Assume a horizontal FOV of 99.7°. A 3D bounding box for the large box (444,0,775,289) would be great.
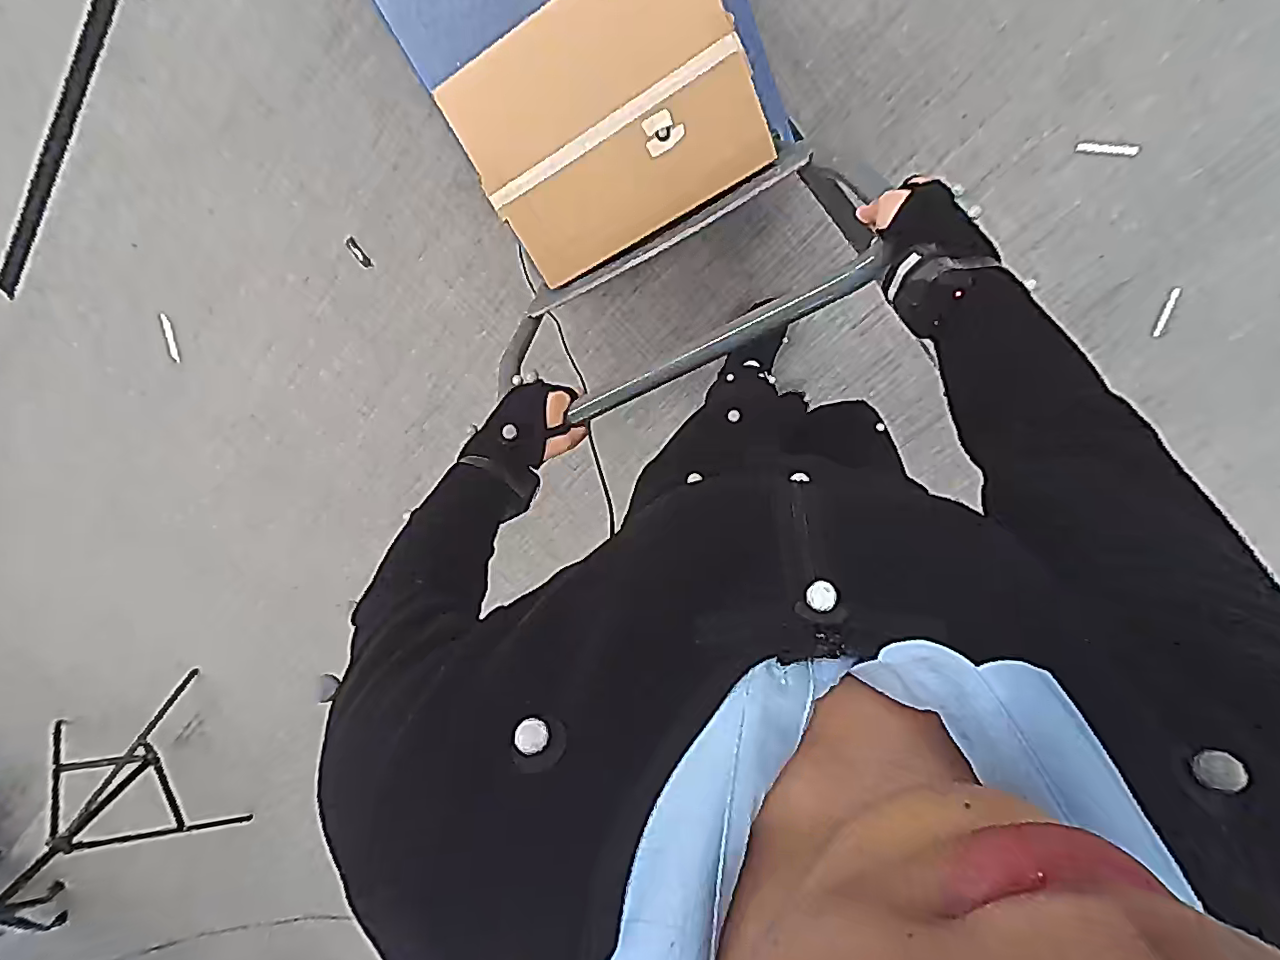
[{"bbox_3d":[-0.040,-0.589,0.918,0.408,0.320,0.320,-25,118,16],"label":"large box"}]
